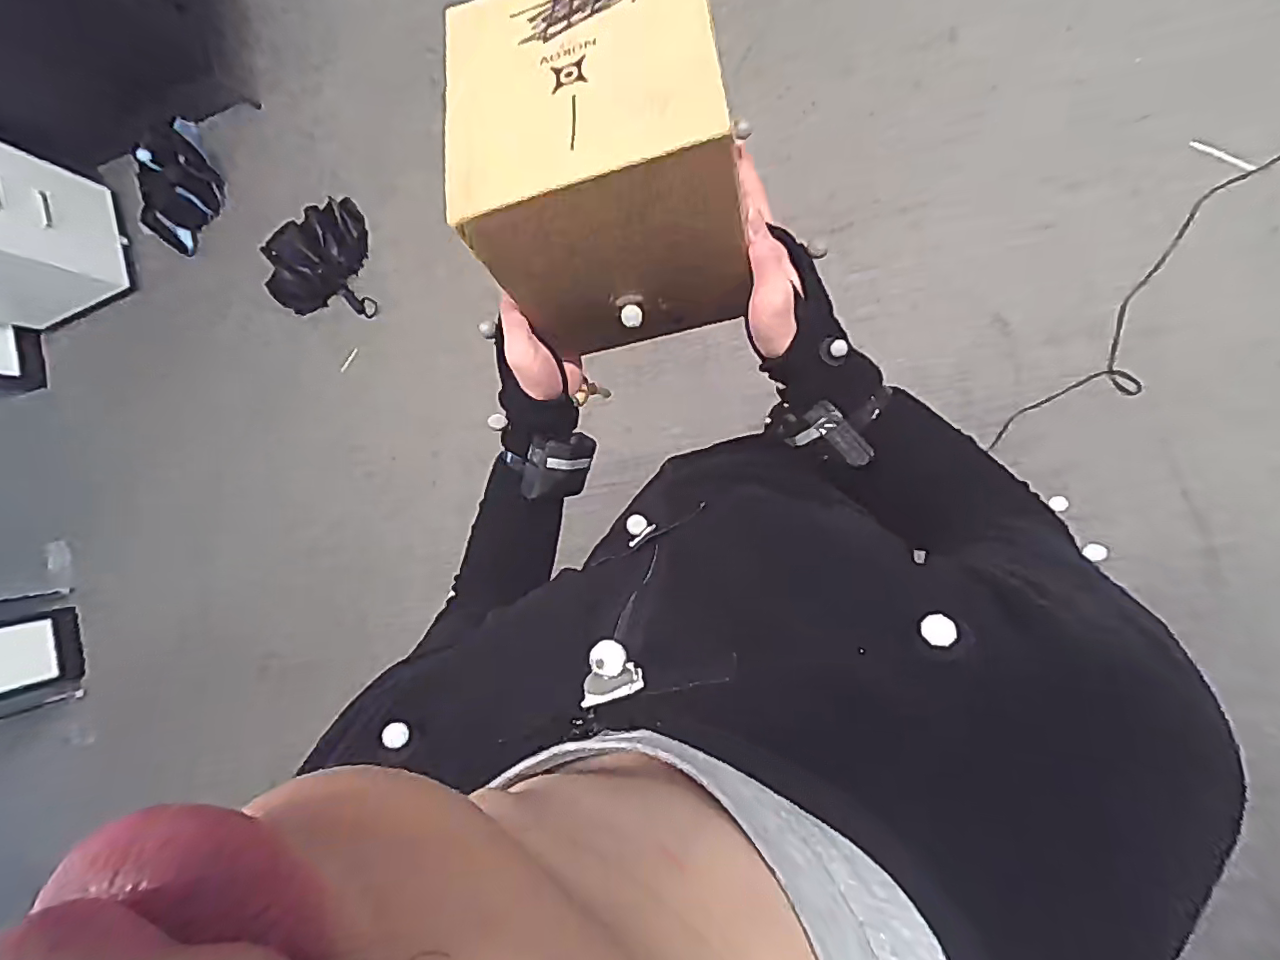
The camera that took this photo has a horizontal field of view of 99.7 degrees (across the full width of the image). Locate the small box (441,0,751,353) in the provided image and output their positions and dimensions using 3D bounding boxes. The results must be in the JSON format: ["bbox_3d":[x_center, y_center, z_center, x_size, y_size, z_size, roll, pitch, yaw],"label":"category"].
[{"bbox_3d":[-0.018,-0.220,0.388,0.168,0.176,0.179,-10,71,14],"label":"small box"}]
